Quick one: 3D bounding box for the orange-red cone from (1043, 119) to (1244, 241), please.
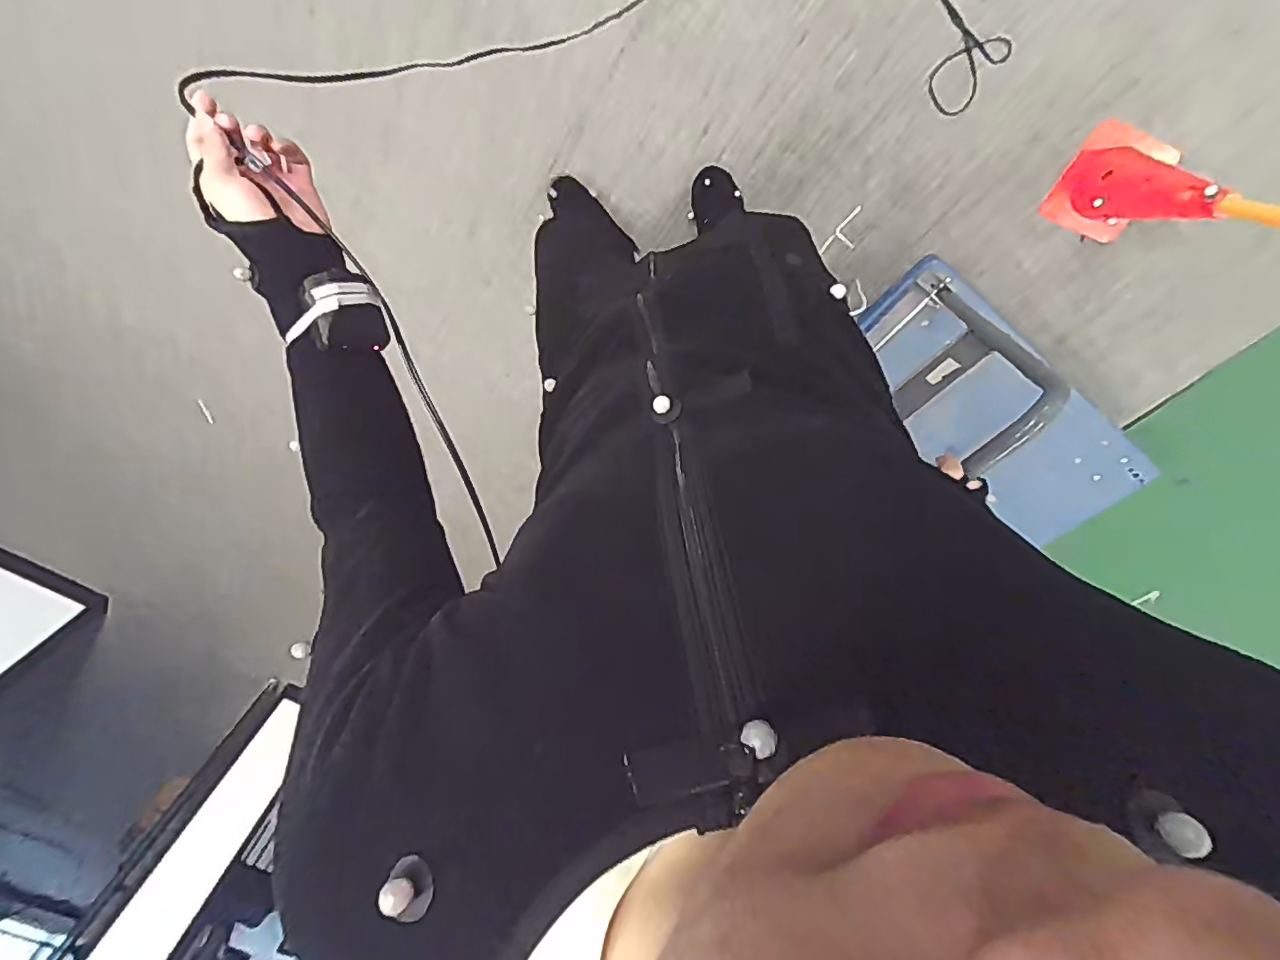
[{"bbox_3d":[1.020,-0.566,1.058,0.198,0.360,0.199,21,123,-7],"label":"orange-red cone"}]
